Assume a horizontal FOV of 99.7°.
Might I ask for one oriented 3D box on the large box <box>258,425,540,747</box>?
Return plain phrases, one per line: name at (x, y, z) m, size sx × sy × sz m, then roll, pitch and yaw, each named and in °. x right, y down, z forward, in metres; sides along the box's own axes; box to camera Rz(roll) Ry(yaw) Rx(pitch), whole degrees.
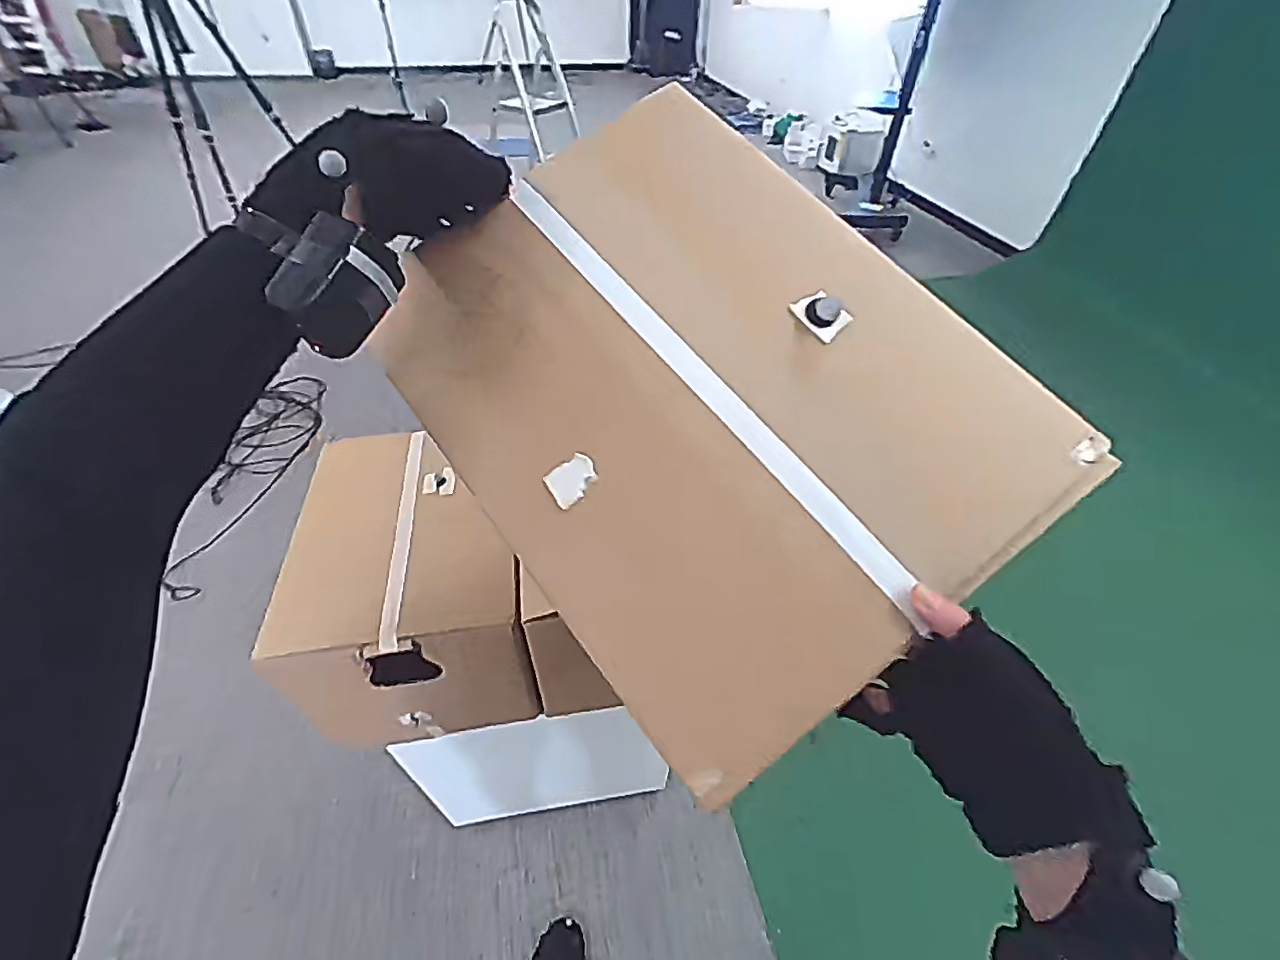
large box at (-0.353, 0.164, 0.910) m, size 0.320 × 0.320 × 0.408 m, roll -6°, pitch 45°, yaw -9°
